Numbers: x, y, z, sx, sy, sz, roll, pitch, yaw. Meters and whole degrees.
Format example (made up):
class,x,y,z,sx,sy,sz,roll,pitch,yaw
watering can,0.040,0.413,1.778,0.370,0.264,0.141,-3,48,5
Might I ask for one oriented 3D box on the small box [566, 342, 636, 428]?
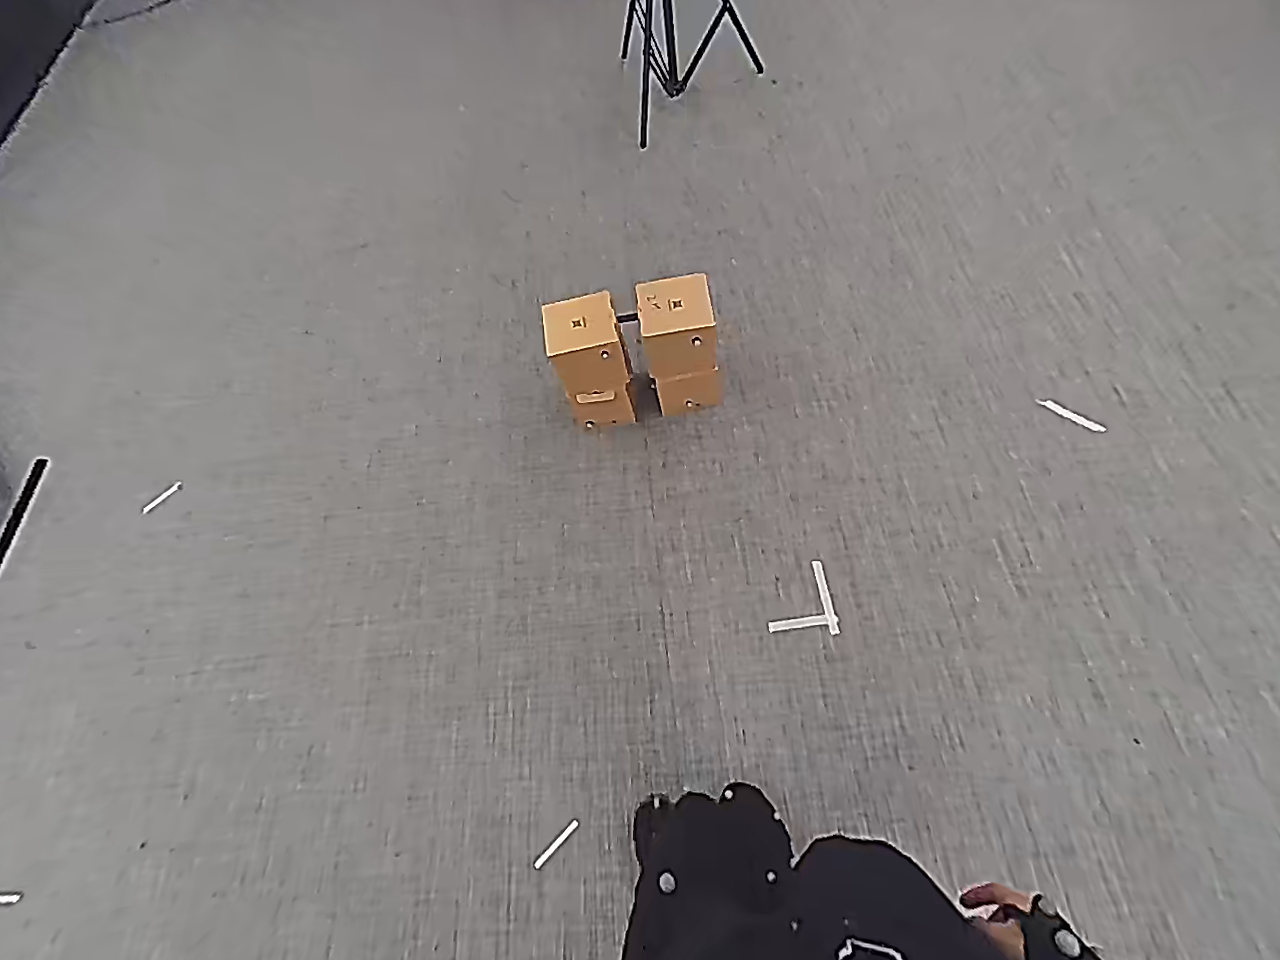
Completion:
class,x,y,z,sx,sy,sz,roll,pitch,yaw
small box,-0.106,-0.258,1.517,0.168,0.176,0.179,-6,64,7
